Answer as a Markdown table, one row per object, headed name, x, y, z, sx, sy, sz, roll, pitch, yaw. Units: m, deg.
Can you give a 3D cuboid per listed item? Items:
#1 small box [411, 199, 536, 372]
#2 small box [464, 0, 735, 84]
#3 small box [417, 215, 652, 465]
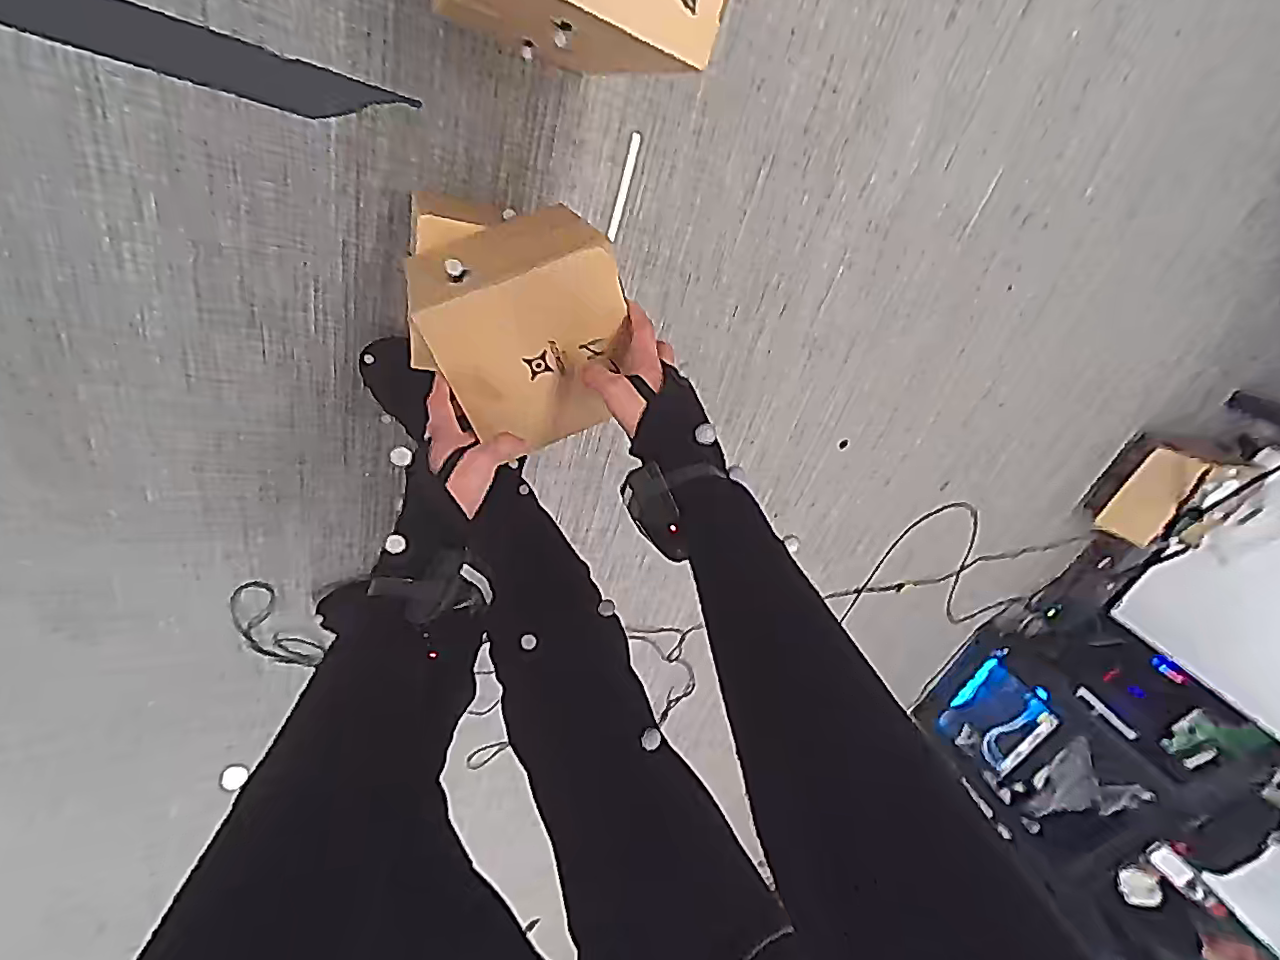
| name | x | y | z | sx | sy | sz | roll | pitch | yaw |
| --- | --- | --- | --- | --- | --- | --- | --- | --- | --- |
| small box | -0.187 | -0.237 | 0.675 | 0.179 | 0.176 | 0.168 | 0 | 123 | -26 |
| small box | -0.027 | -0.421 | 0.396 | 0.179 | 0.176 | 0.168 | 5 | 121 | -27 |
| small box | -0.110 | -0.150 | 0.555 | 0.179 | 0.176 | 0.168 | -24 | 131 | -8 |
